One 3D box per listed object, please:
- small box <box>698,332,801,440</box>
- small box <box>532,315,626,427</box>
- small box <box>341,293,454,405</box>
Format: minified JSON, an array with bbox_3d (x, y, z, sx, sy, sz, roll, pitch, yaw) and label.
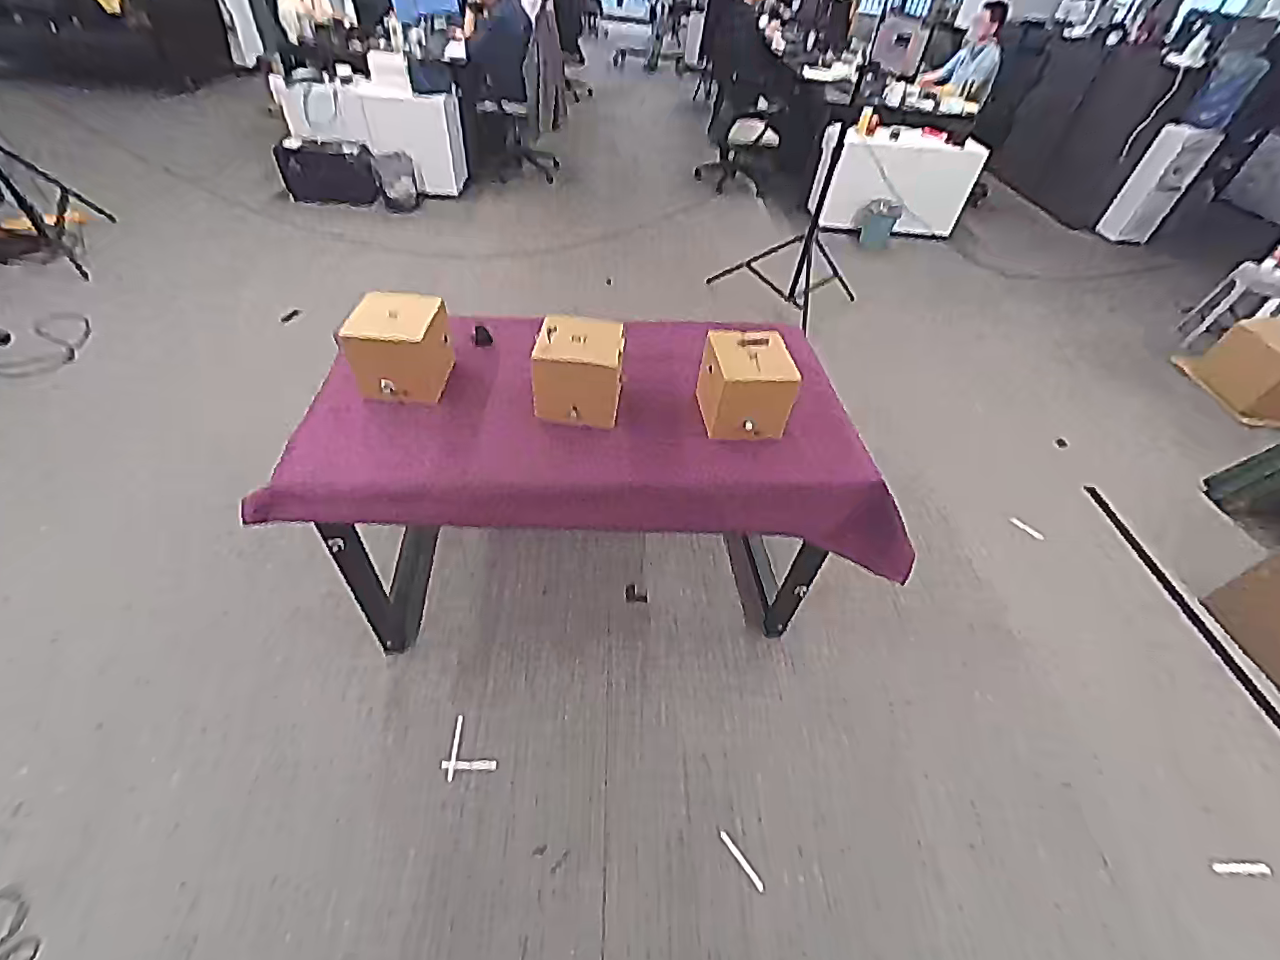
[{"bbox_3d":[0.232,-0.208,1.201,0.168,0.176,0.179,-2,47,-8],"label":"small box"},{"bbox_3d":[-0.130,-0.235,1.185,0.179,0.176,0.168,7,46,-1],"label":"small box"},{"bbox_3d":[-0.519,-0.288,1.189,0.168,0.176,0.179,3,47,-3],"label":"small box"}]
